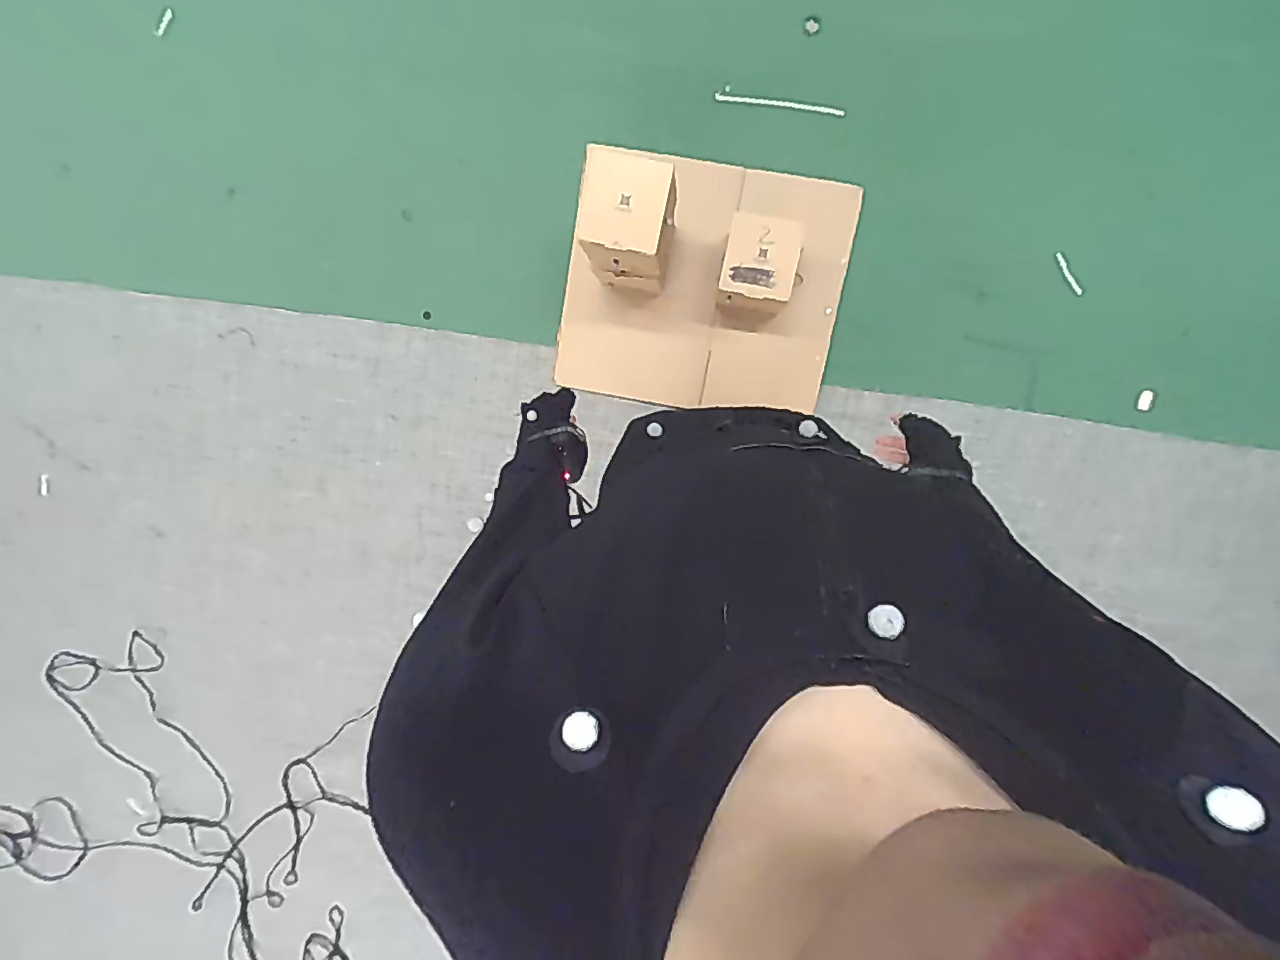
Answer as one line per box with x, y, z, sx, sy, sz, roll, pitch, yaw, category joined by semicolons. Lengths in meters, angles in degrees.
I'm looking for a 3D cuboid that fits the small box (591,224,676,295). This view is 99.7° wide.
-0.010;-0.559;1.304;0.168;0.176;0.179;12;98;4;small box

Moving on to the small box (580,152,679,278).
-0.017;-0.549;1.142;0.168;0.176;0.179;13;99;3;small box
